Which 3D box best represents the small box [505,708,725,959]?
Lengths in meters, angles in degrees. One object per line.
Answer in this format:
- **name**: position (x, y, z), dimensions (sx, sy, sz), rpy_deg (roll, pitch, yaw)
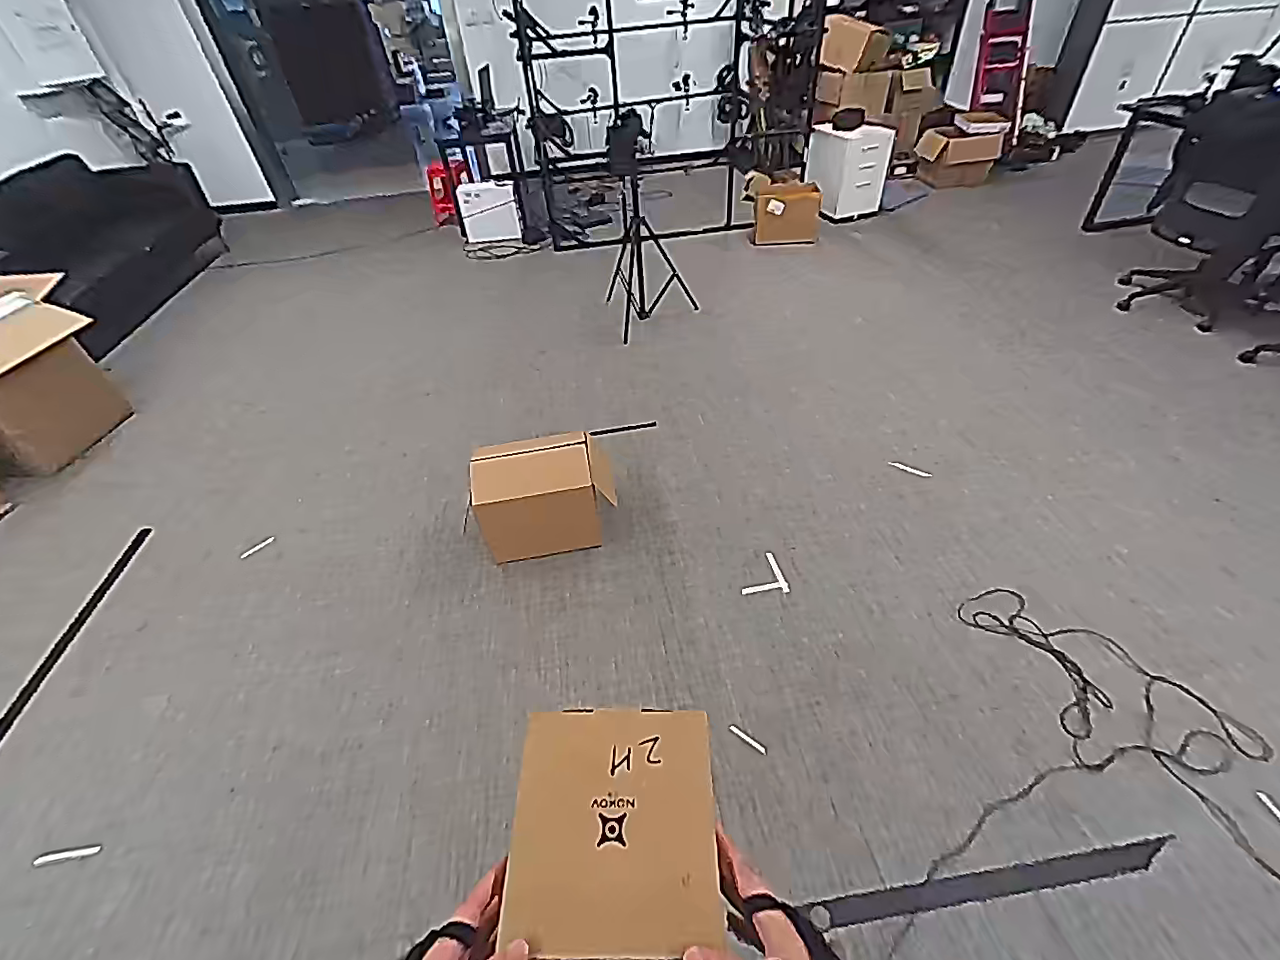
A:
- **small box**: position (-0.015, 0.334, 0.506), dimensions (0.168, 0.176, 0.179), rpy_deg (0, 45, 1)
